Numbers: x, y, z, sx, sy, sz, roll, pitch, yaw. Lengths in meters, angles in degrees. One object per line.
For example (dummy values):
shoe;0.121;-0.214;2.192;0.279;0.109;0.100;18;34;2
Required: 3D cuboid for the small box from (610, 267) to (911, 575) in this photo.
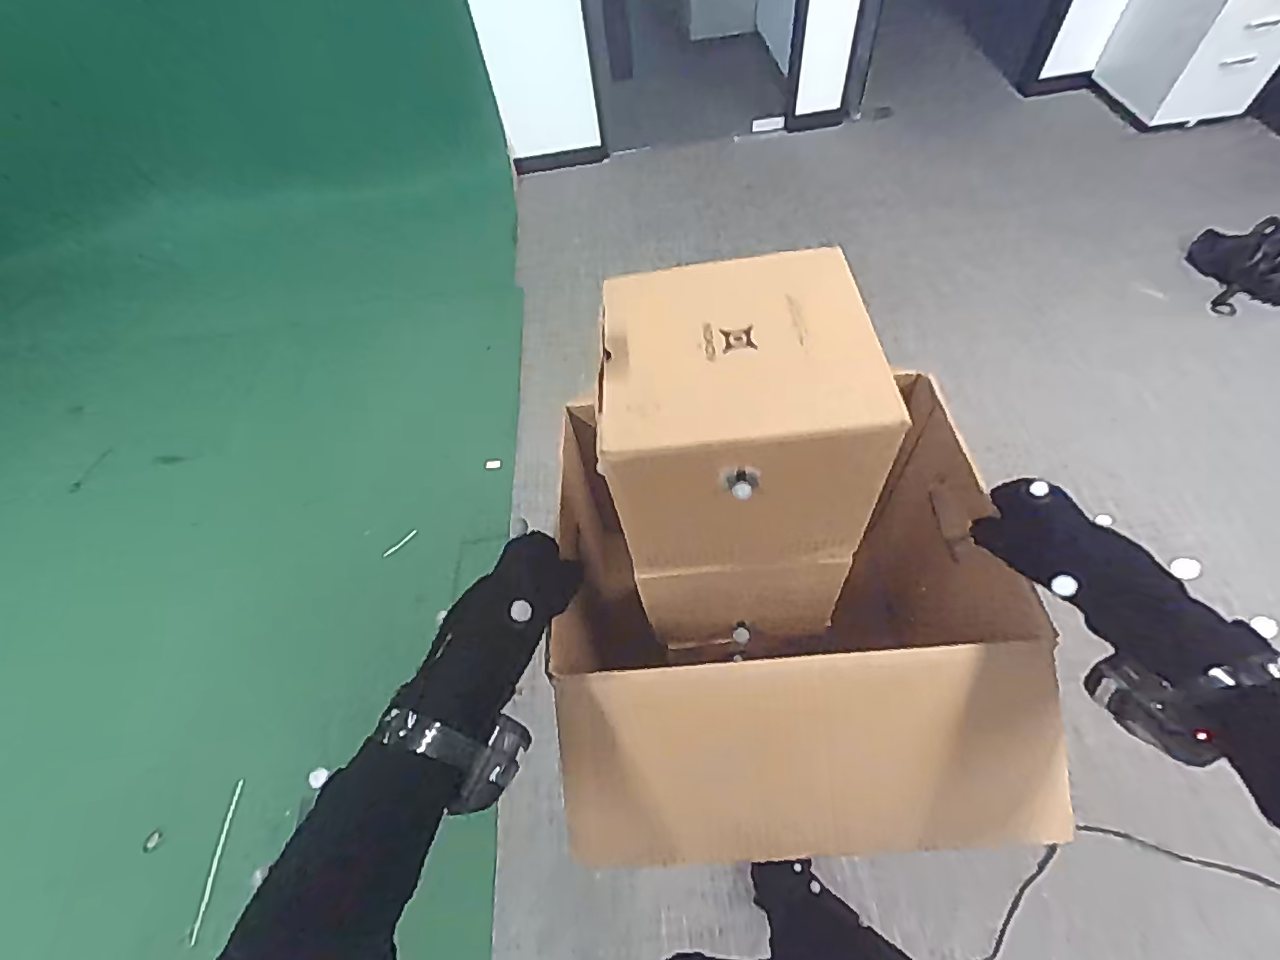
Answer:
small box;0.077;-0.036;0.424;0.179;0.176;0.168;-6;55;4
